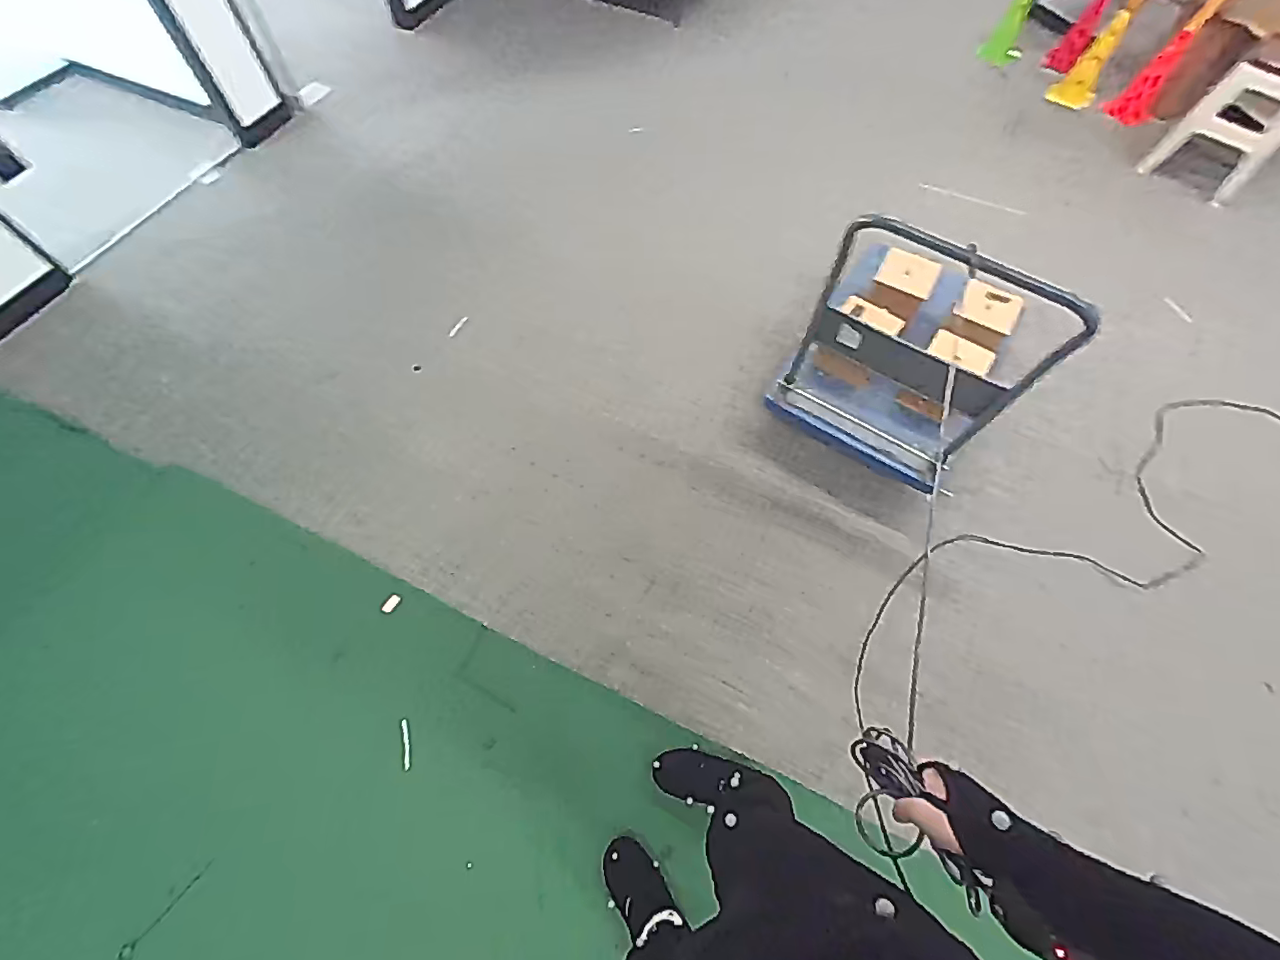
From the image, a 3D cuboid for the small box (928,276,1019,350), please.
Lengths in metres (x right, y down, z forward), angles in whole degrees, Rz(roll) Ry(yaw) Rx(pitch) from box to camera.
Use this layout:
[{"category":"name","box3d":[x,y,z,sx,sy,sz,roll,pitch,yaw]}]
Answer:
[{"category":"small box","box3d":[1.045,-0.500,1.708,0.168,0.176,0.179,30,68,14]}]

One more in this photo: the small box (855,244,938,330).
[{"category":"small box","box3d":[0.829,-0.626,1.767,0.168,0.176,0.179,29,66,12]}]

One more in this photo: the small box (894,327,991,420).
[{"category":"small box","box3d":[0.895,-0.314,1.615,0.168,0.176,0.179,33,68,14]}]
